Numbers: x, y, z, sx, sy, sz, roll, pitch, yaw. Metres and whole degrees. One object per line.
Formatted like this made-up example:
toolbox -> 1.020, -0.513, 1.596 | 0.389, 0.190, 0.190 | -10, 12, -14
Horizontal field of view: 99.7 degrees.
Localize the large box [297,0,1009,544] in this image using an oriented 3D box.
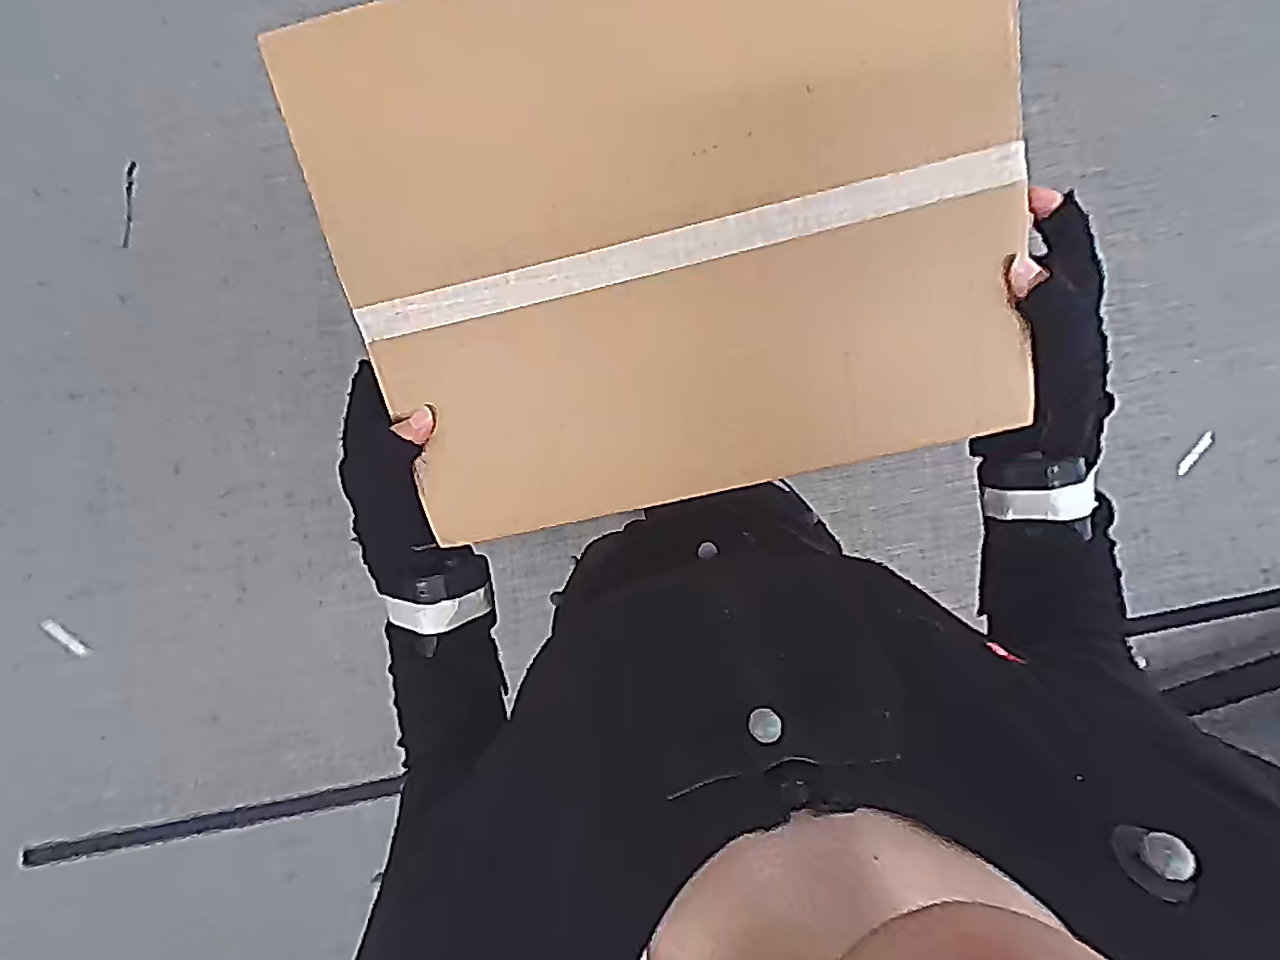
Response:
large box -> 0.028, -0.179, 0.481 | 0.408, 0.320, 0.320 | -11, 105, 4
